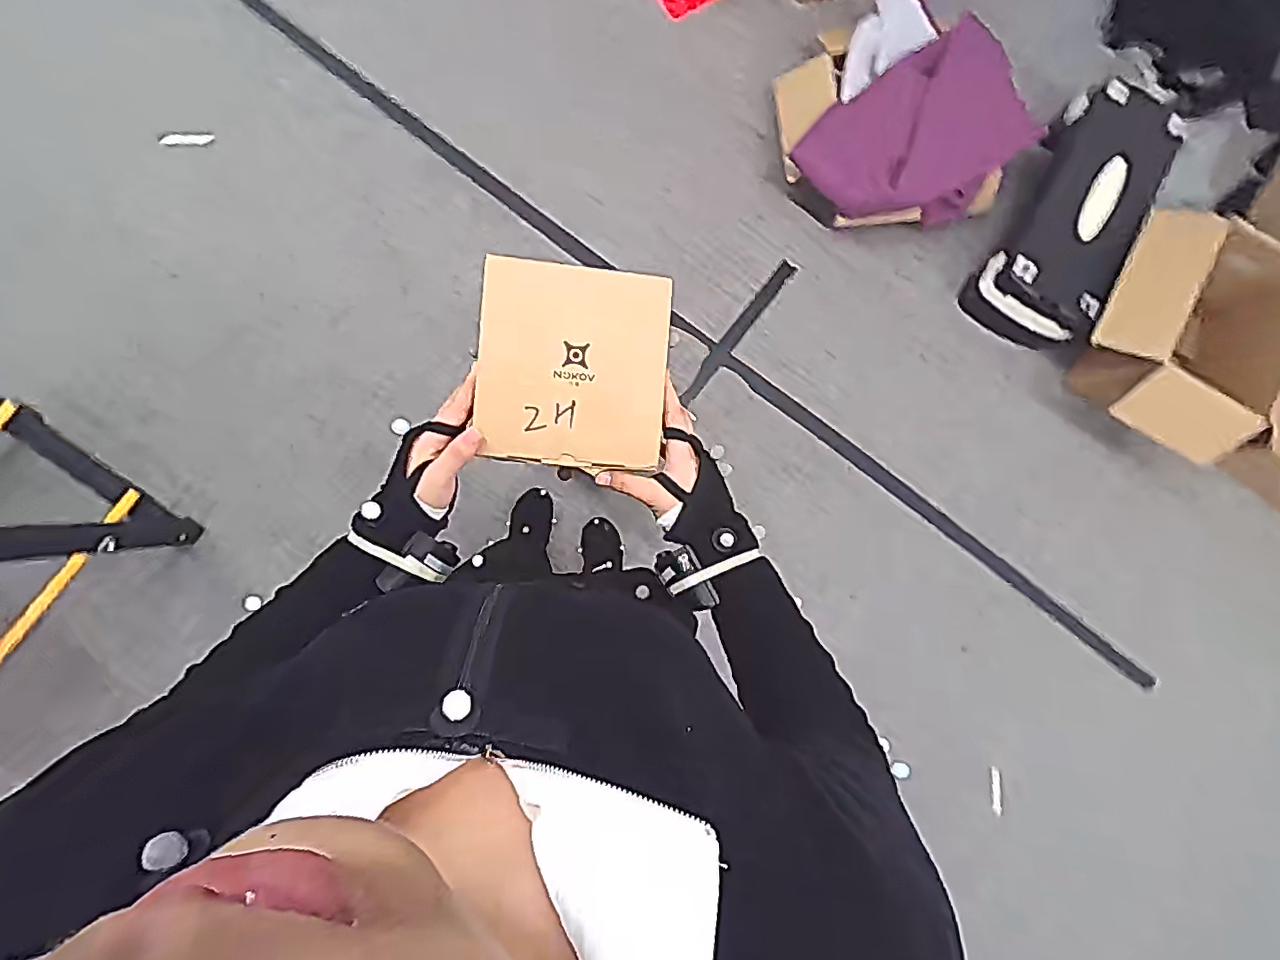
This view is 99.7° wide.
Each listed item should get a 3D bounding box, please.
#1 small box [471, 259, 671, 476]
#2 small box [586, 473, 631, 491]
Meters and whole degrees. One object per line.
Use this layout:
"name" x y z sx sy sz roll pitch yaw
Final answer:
"small box" -0.069 -0.098 0.552 0.168 0.176 0.179 4 89 -7
"small box" -0.072 -0.085 1.266 0.168 0.176 0.179 31 86 -1
